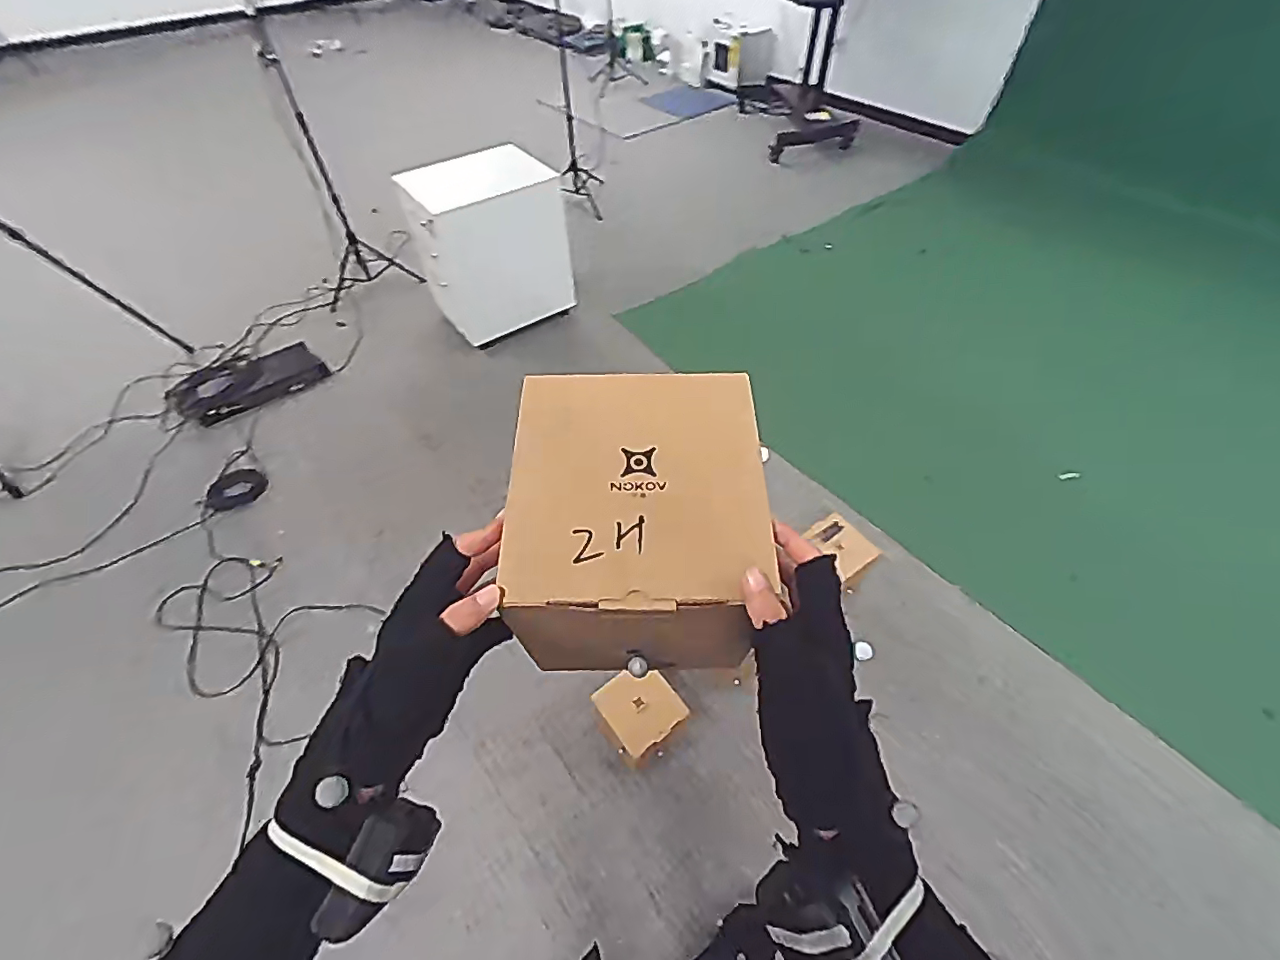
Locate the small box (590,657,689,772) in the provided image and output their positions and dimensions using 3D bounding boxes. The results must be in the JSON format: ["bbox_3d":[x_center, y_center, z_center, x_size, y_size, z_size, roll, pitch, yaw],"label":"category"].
[{"bbox_3d":[-0.003,0.572,1.312,0.168,0.176,0.179,-33,58,-23],"label":"small box"}]

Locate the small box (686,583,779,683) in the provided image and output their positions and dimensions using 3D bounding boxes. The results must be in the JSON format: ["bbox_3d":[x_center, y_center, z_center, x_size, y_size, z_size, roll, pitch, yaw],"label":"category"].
[{"bbox_3d":[0.239,0.413,1.437,0.168,0.176,0.179,-26,54,-20],"label":"small box"}]
